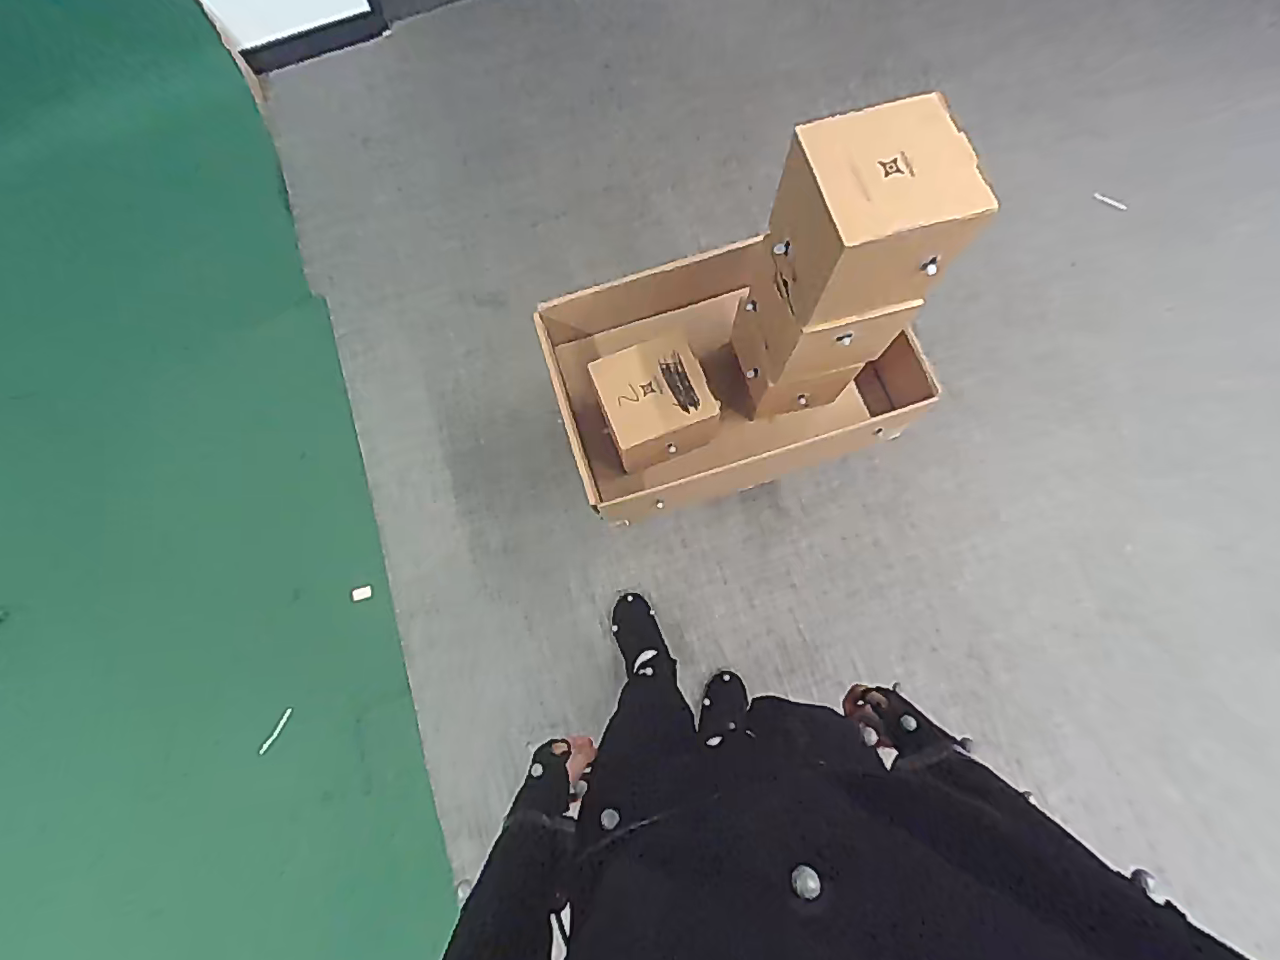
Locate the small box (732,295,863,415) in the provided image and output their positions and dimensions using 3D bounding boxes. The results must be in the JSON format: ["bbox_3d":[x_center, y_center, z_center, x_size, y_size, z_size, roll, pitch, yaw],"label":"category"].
[{"bbox_3d":[0.274,-0.230,0.982,0.168,0.176,0.179,-13,75,-1],"label":"small box"}]

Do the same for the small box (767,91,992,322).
[{"bbox_3d":[0.275,-0.324,0.668,0.179,0.176,0.168,-15,75,-1],"label":"small box"}]

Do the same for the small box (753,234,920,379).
[{"bbox_3d":[0.280,-0.273,0.823,0.179,0.176,0.168,-14,76,-1],"label":"small box"}]
